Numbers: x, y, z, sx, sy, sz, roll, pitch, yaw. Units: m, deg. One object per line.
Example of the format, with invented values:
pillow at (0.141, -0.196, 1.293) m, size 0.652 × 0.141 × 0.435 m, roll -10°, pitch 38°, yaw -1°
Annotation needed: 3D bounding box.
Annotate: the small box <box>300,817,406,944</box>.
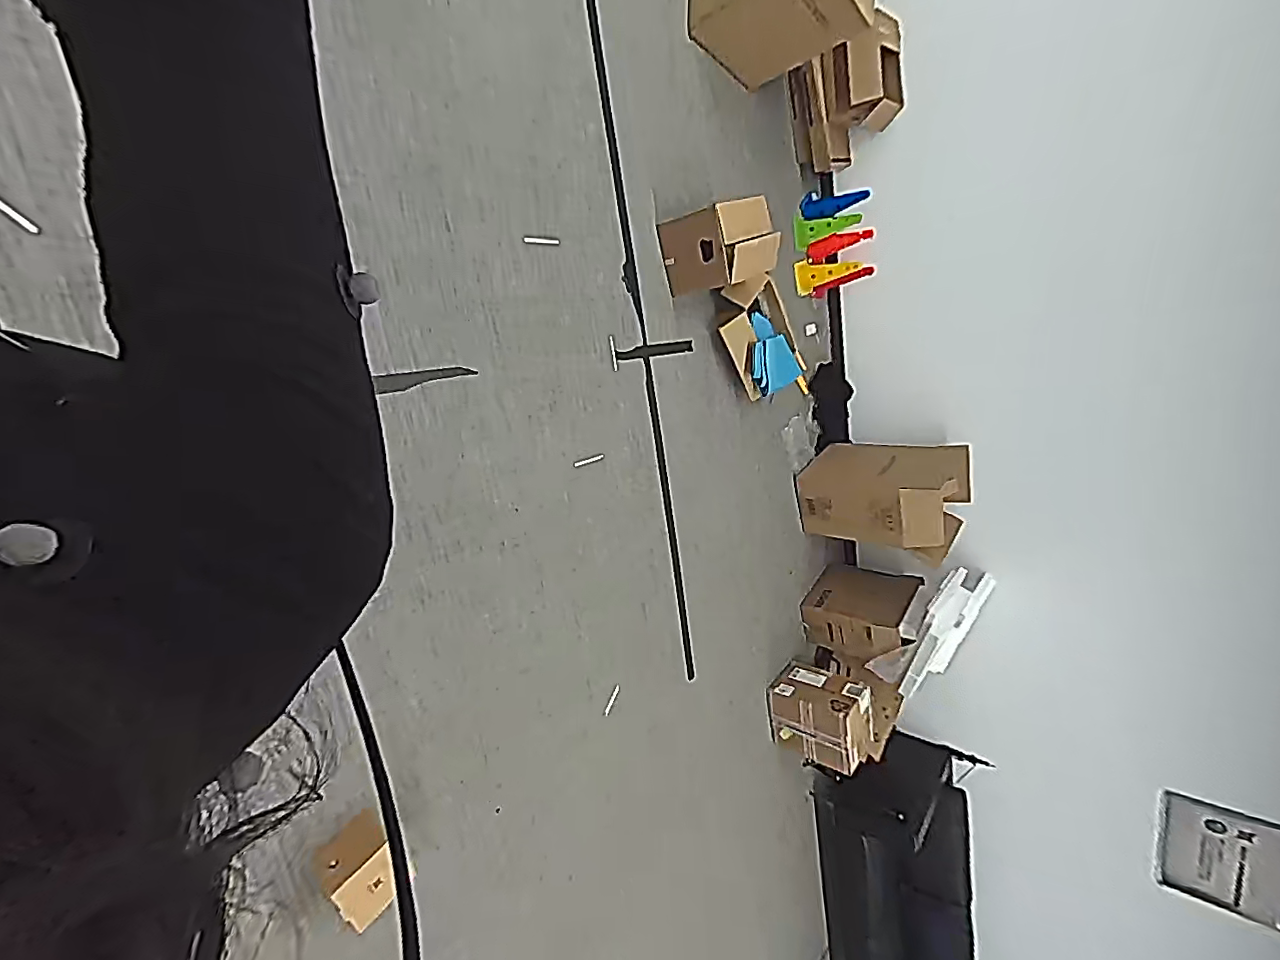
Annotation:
small box at (-0.767, 1.051, 1.433) m, size 0.179 × 0.176 × 0.168 m, roll -38°, pitch 121°, yaw -42°
